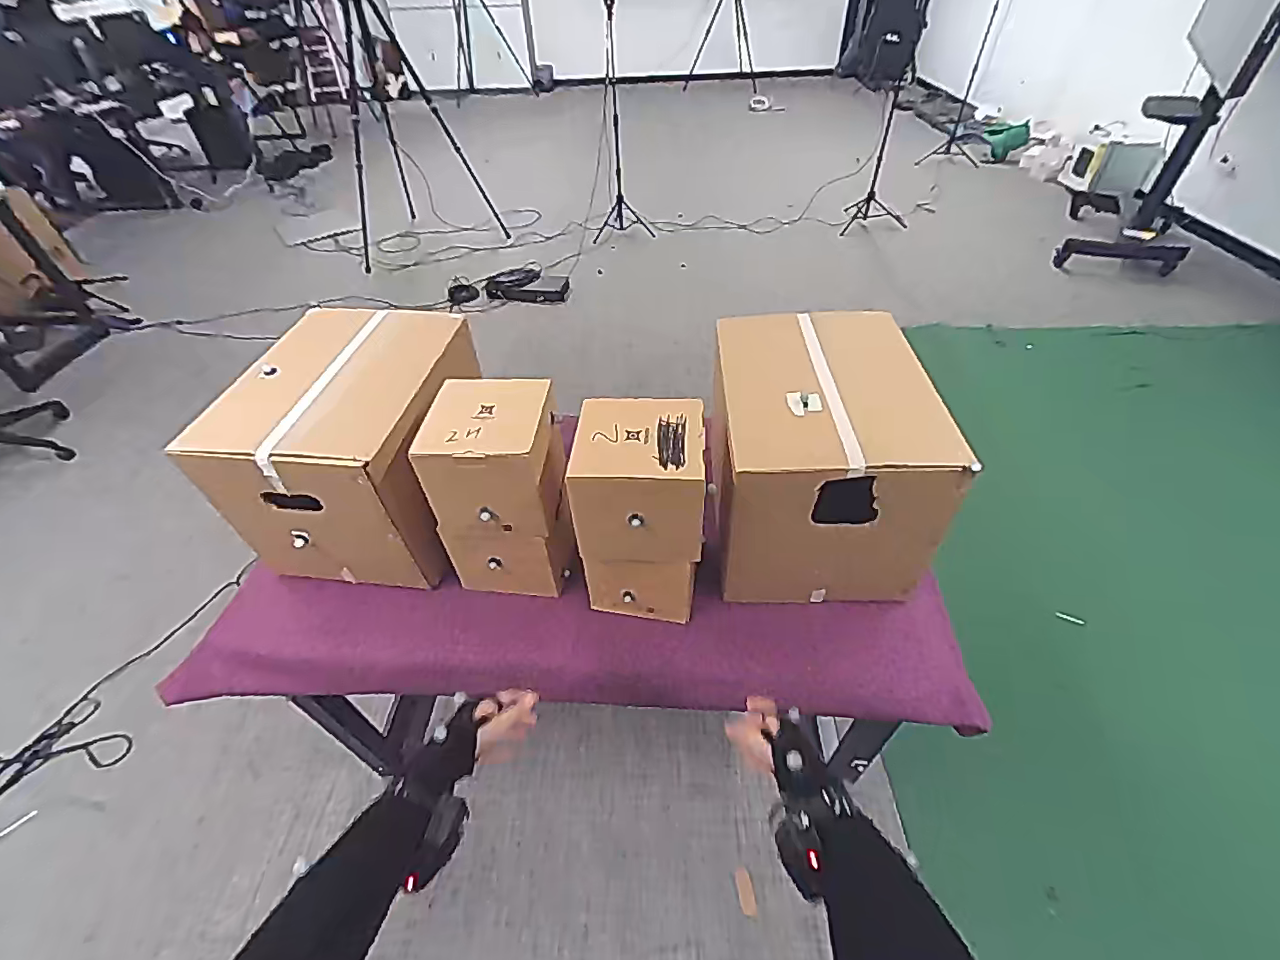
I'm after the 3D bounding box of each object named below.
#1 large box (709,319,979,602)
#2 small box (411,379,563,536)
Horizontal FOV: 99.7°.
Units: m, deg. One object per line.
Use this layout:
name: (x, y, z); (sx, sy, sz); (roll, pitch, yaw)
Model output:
large box: (0.294, -0.041, 0.941); (0.320, 0.320, 0.408); (-2, 45, 4)
small box: (-0.216, -0.036, 0.822); (0.168, 0.176, 0.179); (0, 45, 4)
